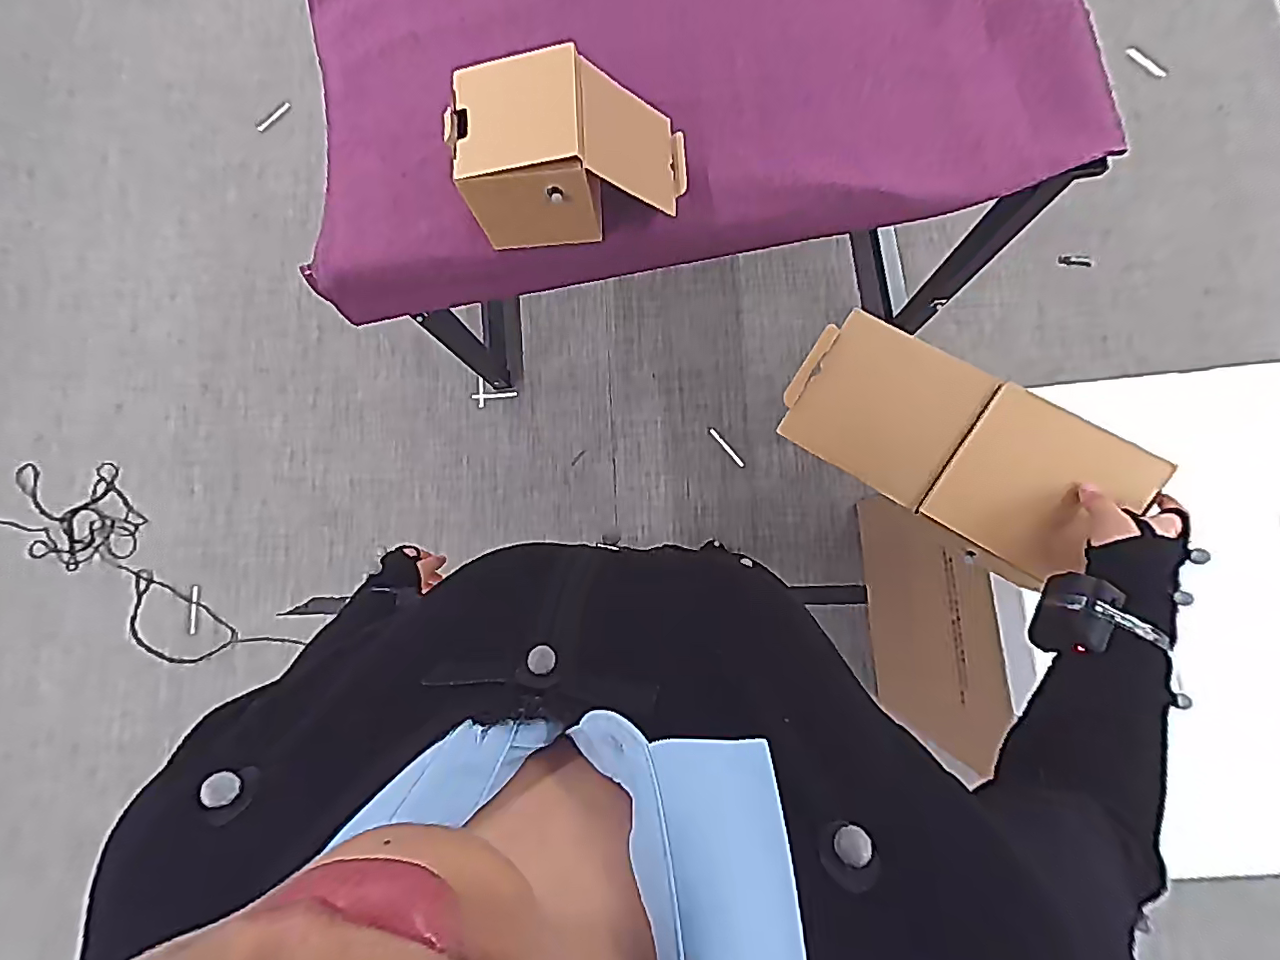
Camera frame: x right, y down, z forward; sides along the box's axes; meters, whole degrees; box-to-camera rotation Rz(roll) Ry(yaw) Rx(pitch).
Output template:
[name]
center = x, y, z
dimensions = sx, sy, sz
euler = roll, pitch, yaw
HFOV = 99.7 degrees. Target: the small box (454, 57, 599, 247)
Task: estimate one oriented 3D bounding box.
[small box]
center = -0.155, -0.466, 0.792
dimensions = 0.179, 0.176, 0.168
euler = -3, 81, 5
